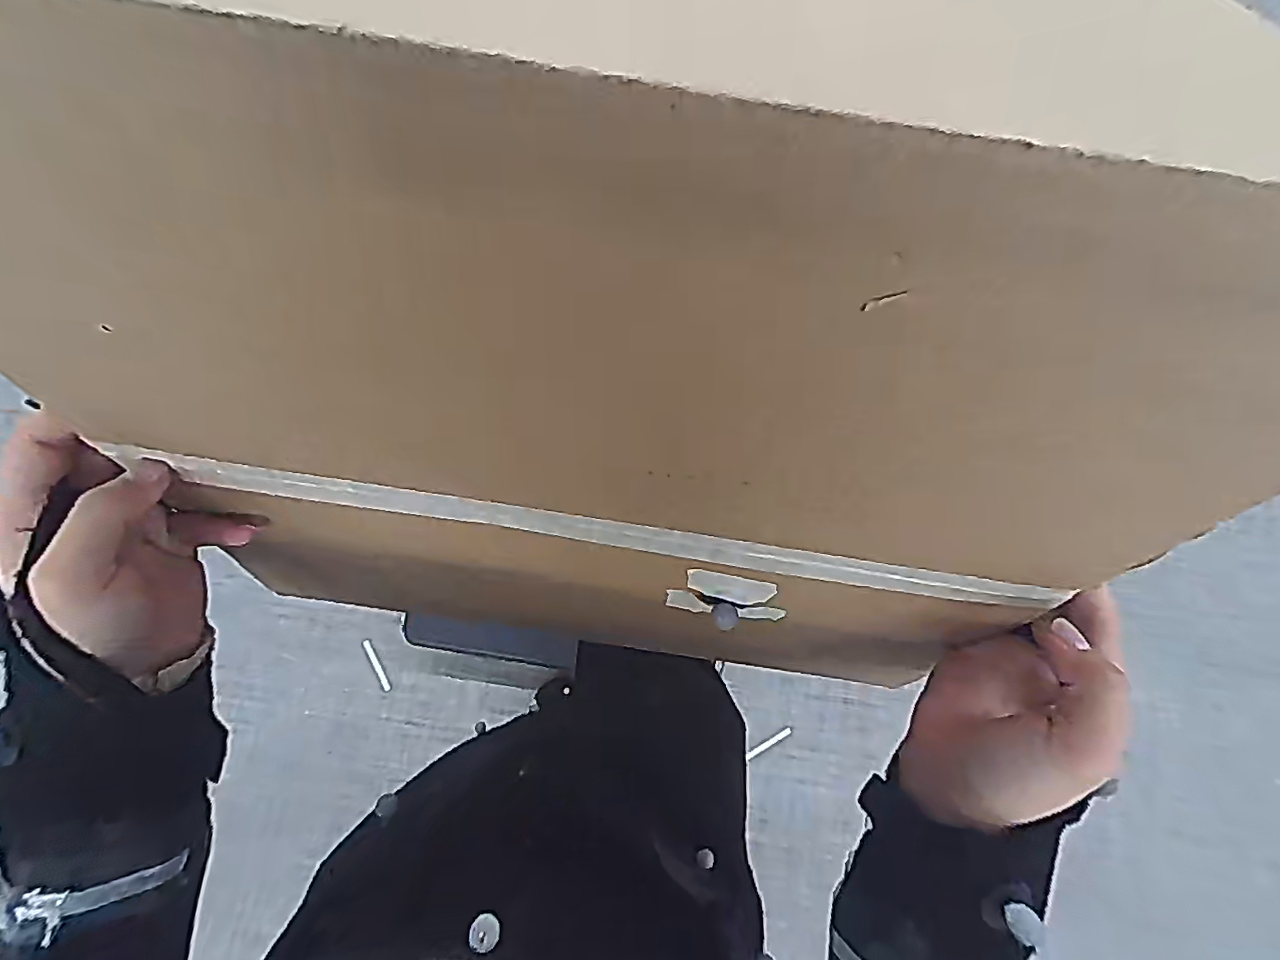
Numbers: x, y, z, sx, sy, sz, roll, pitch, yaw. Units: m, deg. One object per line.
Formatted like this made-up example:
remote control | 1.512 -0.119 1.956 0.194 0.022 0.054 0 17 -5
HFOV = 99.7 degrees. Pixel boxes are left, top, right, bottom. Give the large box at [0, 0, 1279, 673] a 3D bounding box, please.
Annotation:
large box | -0.005 -0.106 0.320 0.408 0.320 0.320 8 56 -1
